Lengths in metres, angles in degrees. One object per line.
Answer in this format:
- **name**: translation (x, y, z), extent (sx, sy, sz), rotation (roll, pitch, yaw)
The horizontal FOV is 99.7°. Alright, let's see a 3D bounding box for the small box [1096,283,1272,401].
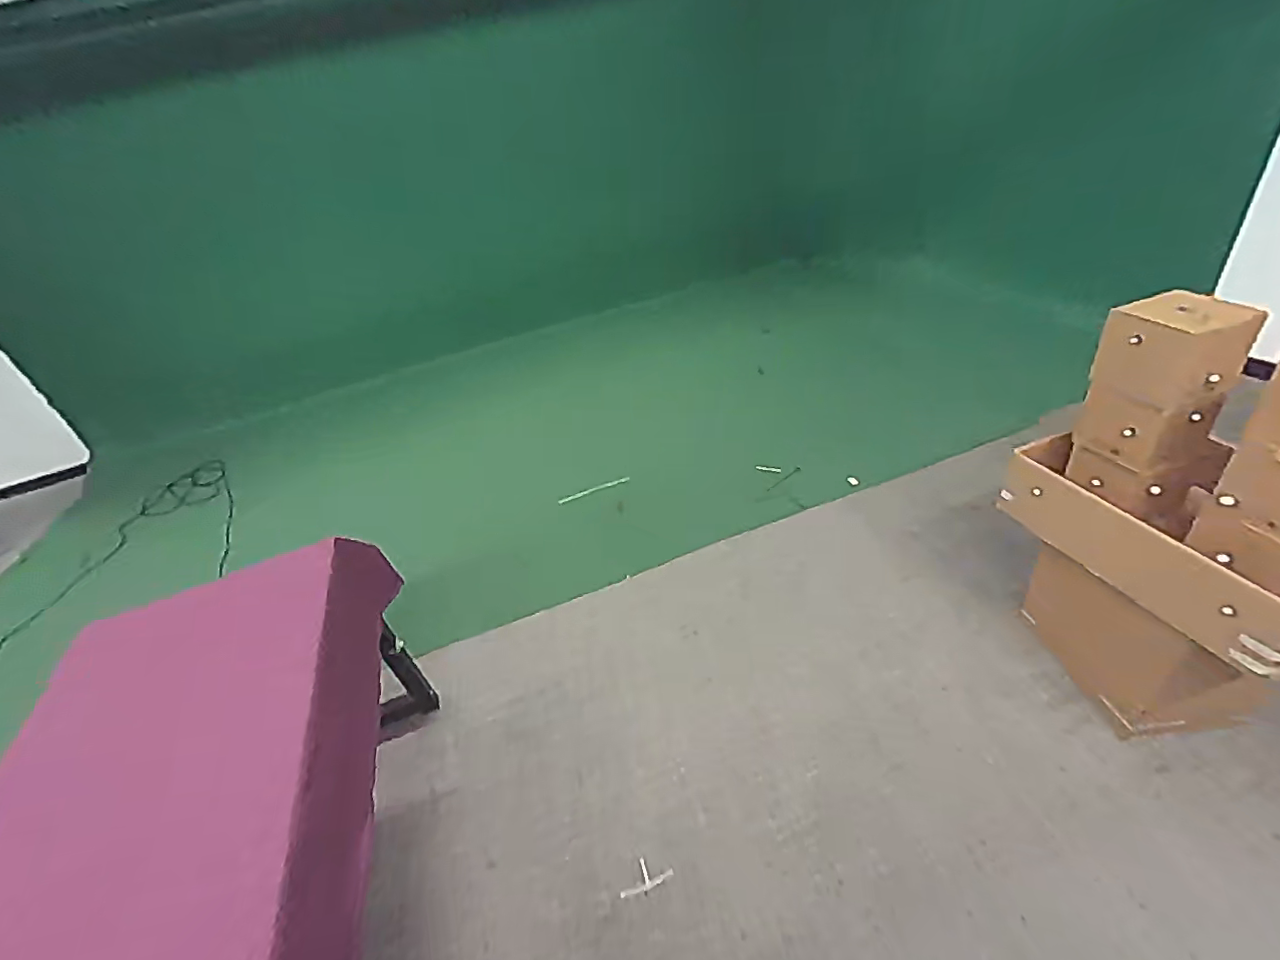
- **small box**: translation (1.109, -0.287, 1.125), extent (0.168, 0.176, 0.179), rotation (-18, 36, -3)

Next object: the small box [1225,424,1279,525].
- **small box**: translation (1.243, -0.017, 0.987), extent (0.179, 0.176, 0.168), rotation (-17, 35, -5)

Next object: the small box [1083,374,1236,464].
- **small box**: translation (1.151, -0.158, 1.219), extent (0.179, 0.176, 0.168), rotation (-19, 36, -6)

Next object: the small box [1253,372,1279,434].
- **small box**: translation (1.210, -0.149, 0.899), extent (0.168, 0.176, 0.179), rotation (-18, 35, -5)
